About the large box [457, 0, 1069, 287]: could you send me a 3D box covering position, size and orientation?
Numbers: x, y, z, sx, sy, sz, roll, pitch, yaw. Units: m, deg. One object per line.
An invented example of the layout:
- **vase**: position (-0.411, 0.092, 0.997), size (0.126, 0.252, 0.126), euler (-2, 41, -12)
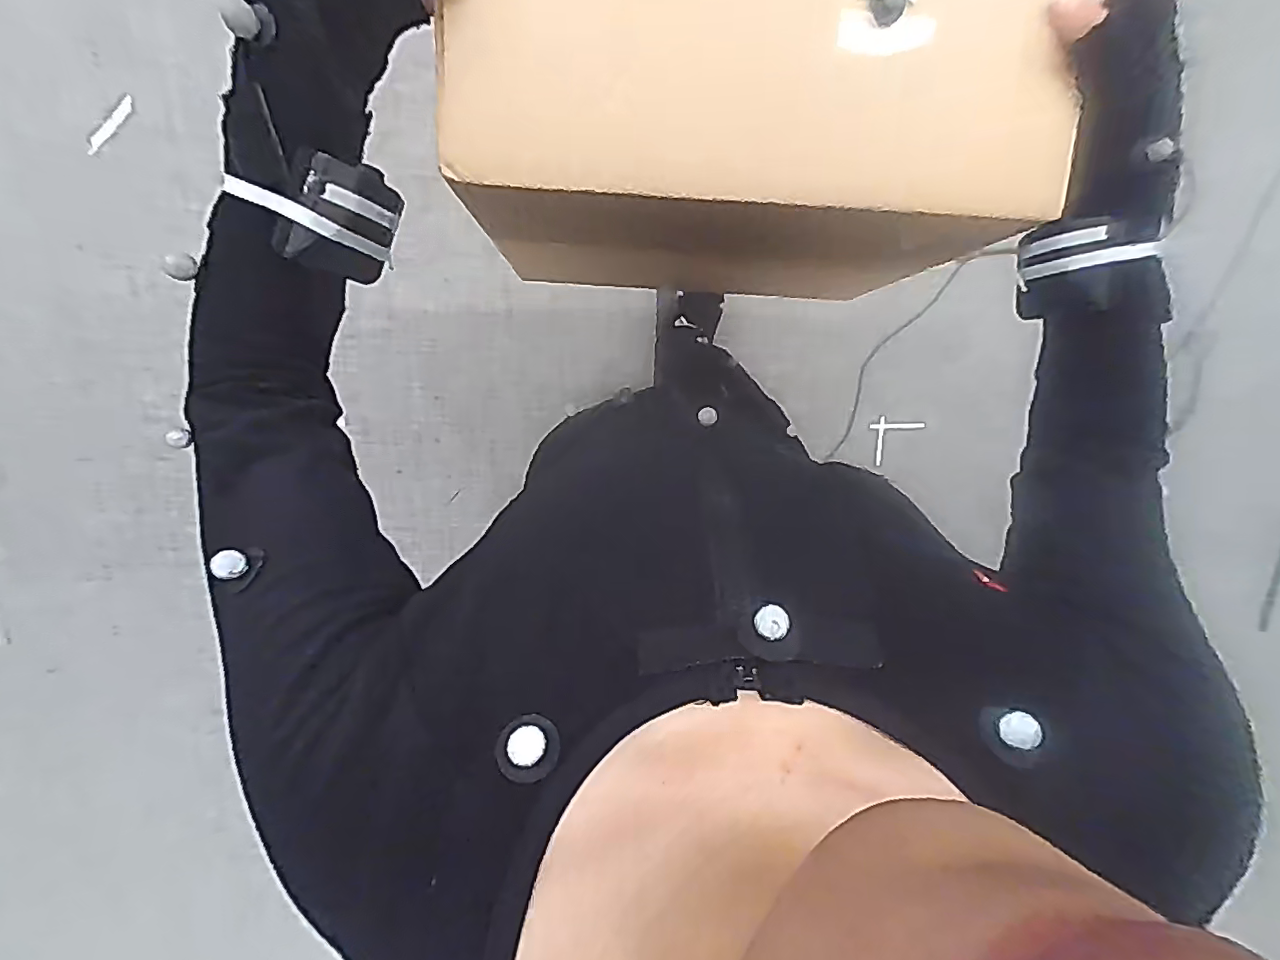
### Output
- **large box**: position (0.073, -0.368, 0.485), size (0.408, 0.320, 0.320), euler (2, 99, -5)
